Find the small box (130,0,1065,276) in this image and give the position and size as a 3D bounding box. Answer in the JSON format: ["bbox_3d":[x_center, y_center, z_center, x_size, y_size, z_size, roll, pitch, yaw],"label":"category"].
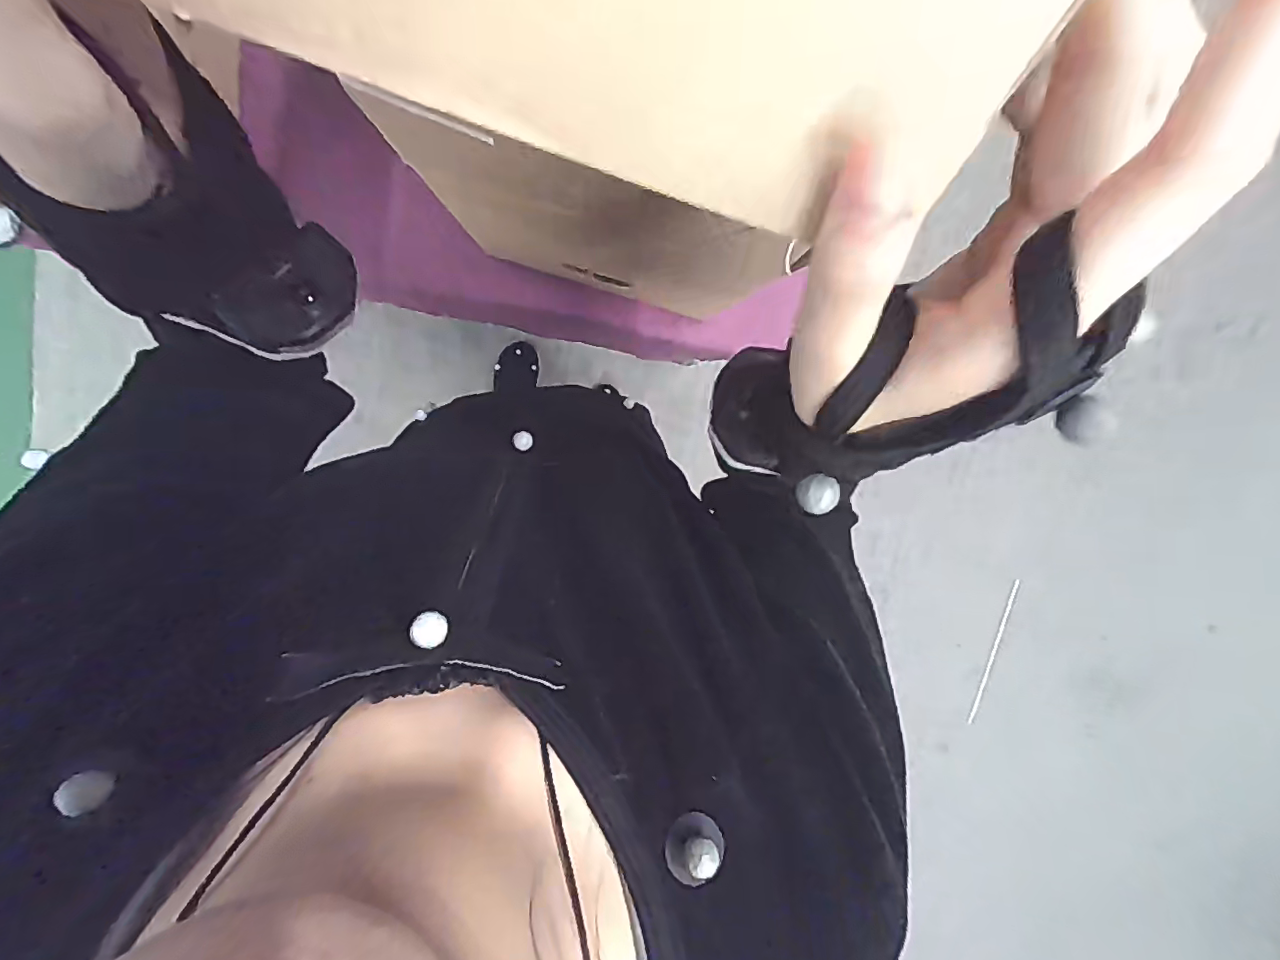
[{"bbox_3d":[0.006,-0.180,0.104,0.179,0.176,0.168,15,142,-11],"label":"small box"}]
